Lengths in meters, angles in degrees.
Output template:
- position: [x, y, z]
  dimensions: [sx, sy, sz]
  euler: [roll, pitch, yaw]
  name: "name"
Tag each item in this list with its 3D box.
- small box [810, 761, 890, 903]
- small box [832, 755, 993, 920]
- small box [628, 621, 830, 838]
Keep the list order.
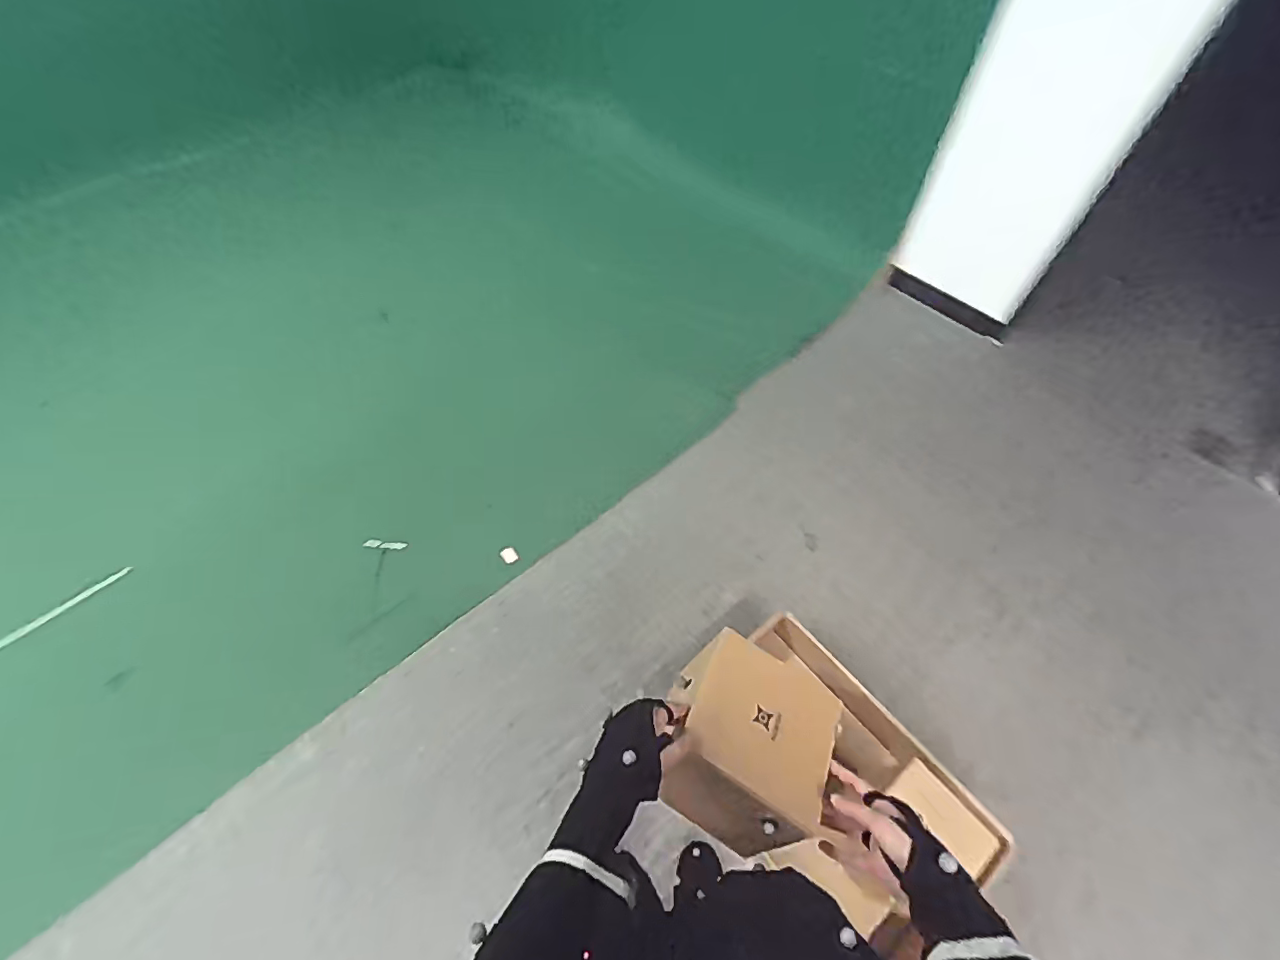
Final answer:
- position: [0.474, 0.710, 1.103]
  dimensions: [0.179, 0.176, 0.168]
  euler: [-35, 62, -18]
  name: "small box"
- position: [0.468, 0.628, 0.963]
  dimensions: [0.179, 0.176, 0.168]
  euler: [-34, 63, -18]
  name: "small box"
- position: [0.107, 0.320, 0.688]
  dimensions: [0.179, 0.176, 0.168]
  euler: [31, 45, 5]
  name: "small box"
